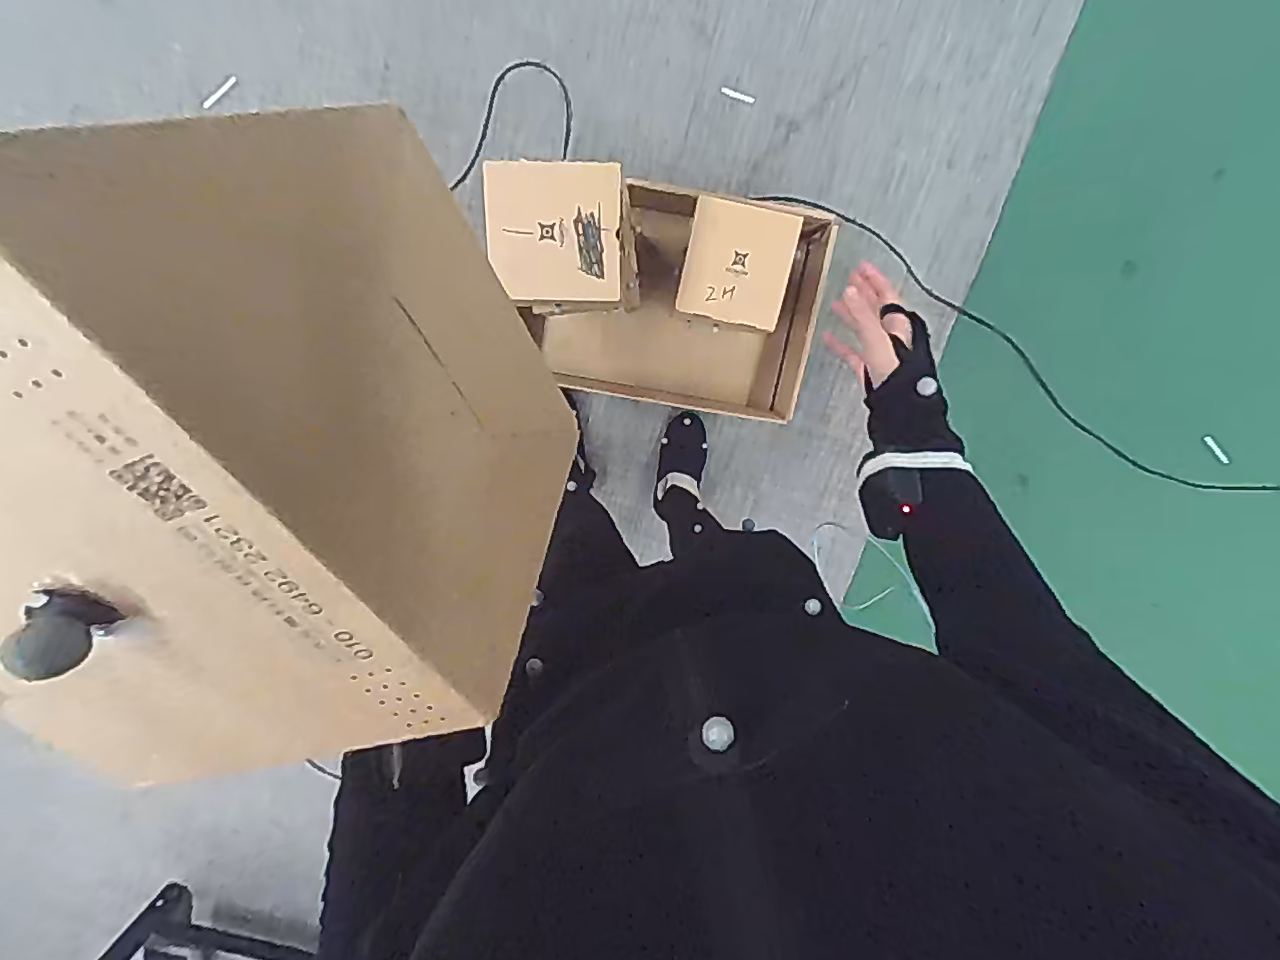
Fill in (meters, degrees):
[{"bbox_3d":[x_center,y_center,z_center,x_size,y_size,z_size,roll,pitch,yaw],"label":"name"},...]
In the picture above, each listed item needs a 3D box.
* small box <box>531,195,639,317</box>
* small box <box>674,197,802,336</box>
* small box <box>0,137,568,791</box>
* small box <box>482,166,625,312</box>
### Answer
[{"bbox_3d":[-0.096,-0.373,0.925,0.179,0.176,0.168,-6,105,3],"label":"small box"},{"bbox_3d":[0.153,-0.351,0.919,0.168,0.176,0.179,12,105,0],"label":"small box"},{"bbox_3d":[-0.149,-0.009,0.217,0.176,0.179,0.168,-16,124,18],"label":"small box"},{"bbox_3d":[-0.111,-0.330,0.767,0.179,0.176,0.168,1,105,1],"label":"small box"}]
